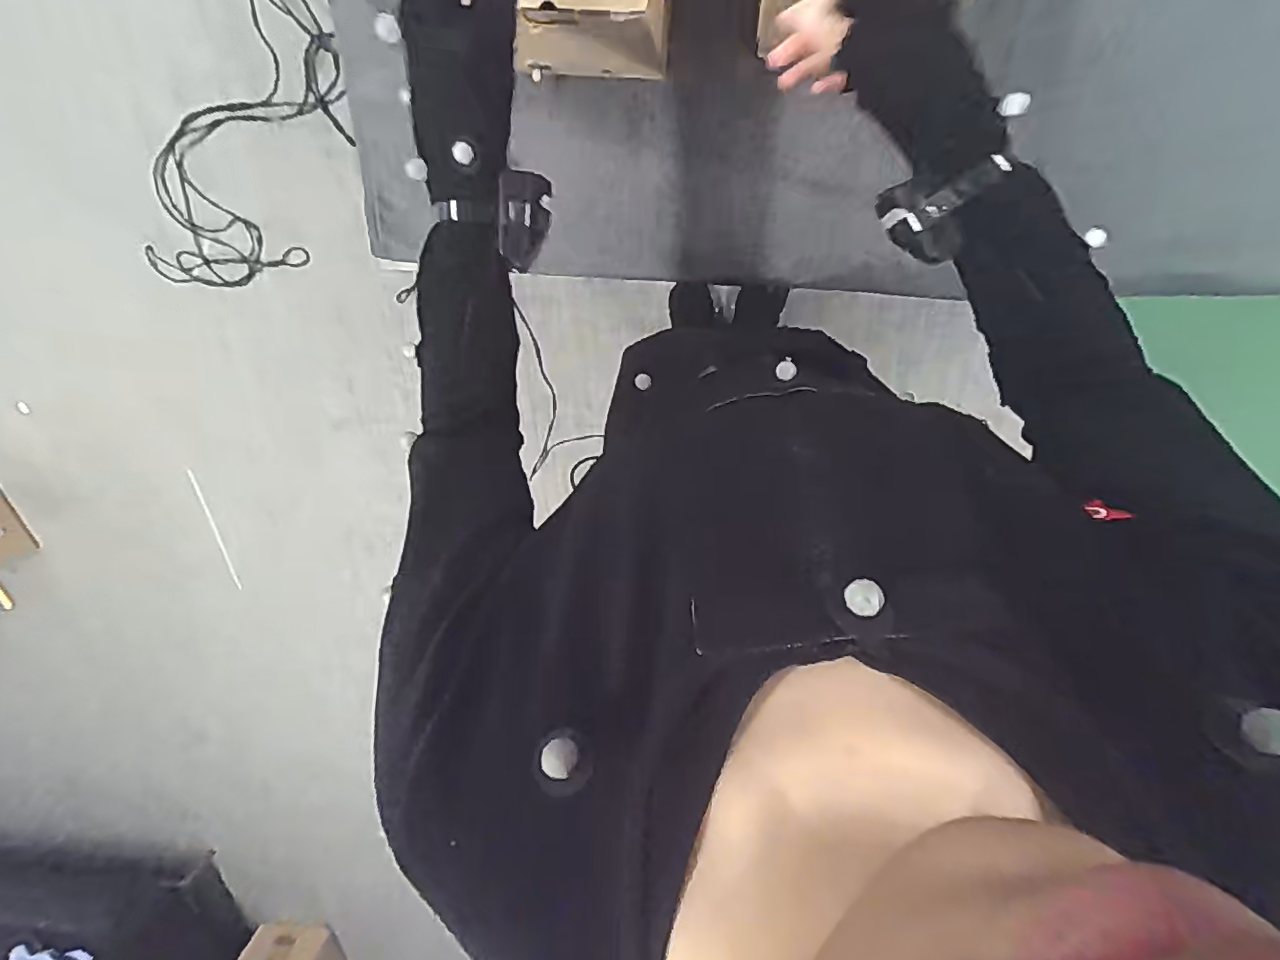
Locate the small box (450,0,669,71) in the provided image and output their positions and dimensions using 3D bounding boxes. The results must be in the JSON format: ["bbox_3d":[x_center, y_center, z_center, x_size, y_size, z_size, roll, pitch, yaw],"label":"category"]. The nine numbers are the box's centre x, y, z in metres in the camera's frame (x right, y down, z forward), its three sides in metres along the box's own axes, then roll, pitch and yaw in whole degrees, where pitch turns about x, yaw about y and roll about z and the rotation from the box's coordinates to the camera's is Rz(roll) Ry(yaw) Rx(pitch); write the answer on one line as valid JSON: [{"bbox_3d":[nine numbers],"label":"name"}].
[{"bbox_3d":[-0.059,-0.489,0.476,0.168,0.176,0.179,7,112,5],"label":"small box"}]

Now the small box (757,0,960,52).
[{"bbox_3d":[0.189,-0.488,0.443,0.168,0.176,0.179,3,114,7],"label":"small box"}]
